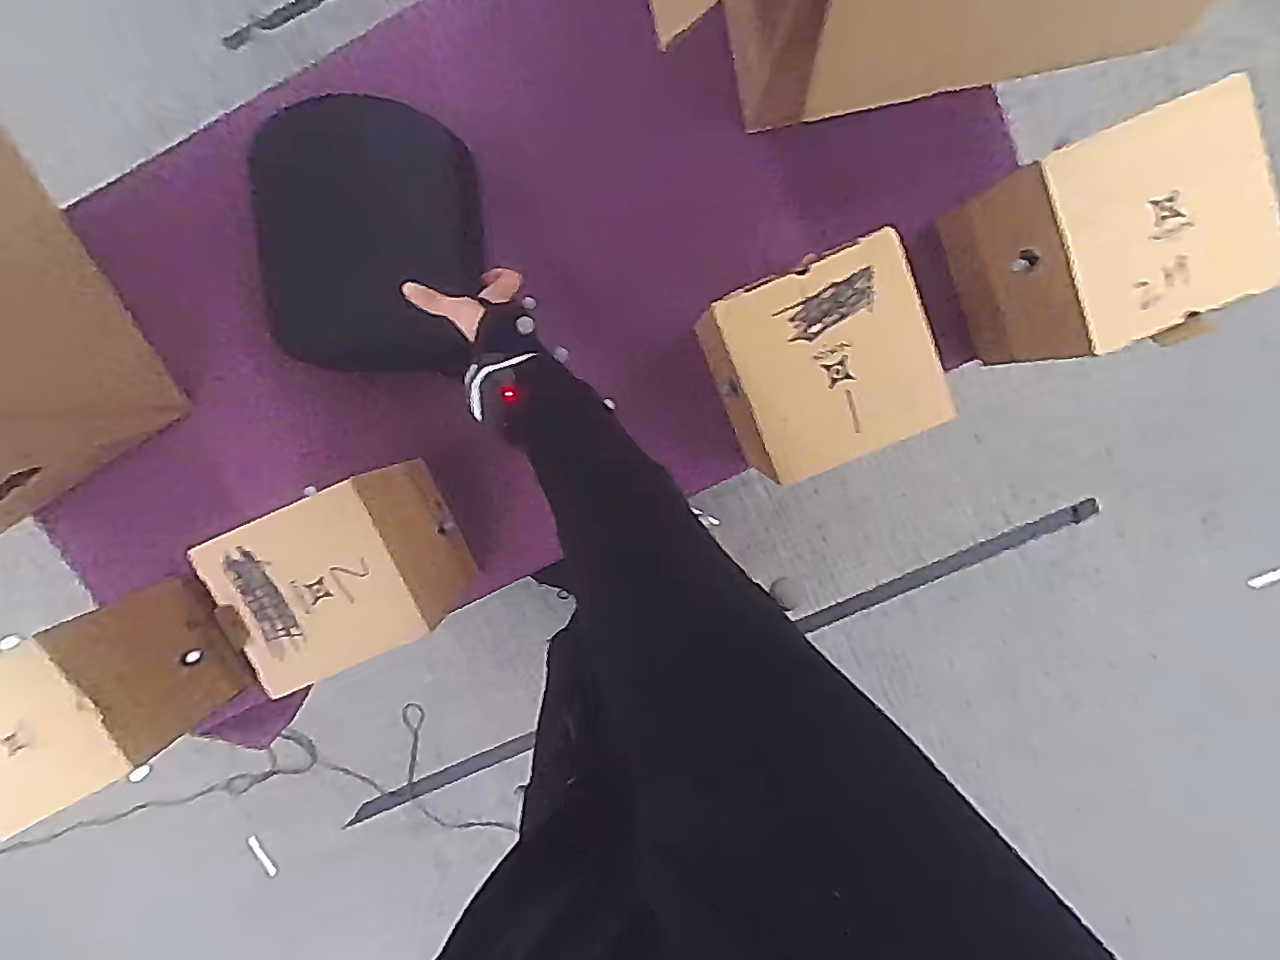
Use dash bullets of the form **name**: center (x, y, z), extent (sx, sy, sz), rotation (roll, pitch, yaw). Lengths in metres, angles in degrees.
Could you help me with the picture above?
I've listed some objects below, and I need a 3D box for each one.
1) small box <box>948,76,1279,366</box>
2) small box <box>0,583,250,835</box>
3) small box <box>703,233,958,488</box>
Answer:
- **small box**: center (0.433, -0.222, 0.519), extent (0.168, 0.176, 0.179), rotation (-22, 98, 5)
- **small box**: center (-0.612, 0.246, 0.621), extent (0.179, 0.176, 0.168), rotation (-28, 97, 4)
- **small box**: center (0.172, -0.111, 0.545), extent (0.168, 0.176, 0.179), rotation (-23, 99, 5)
